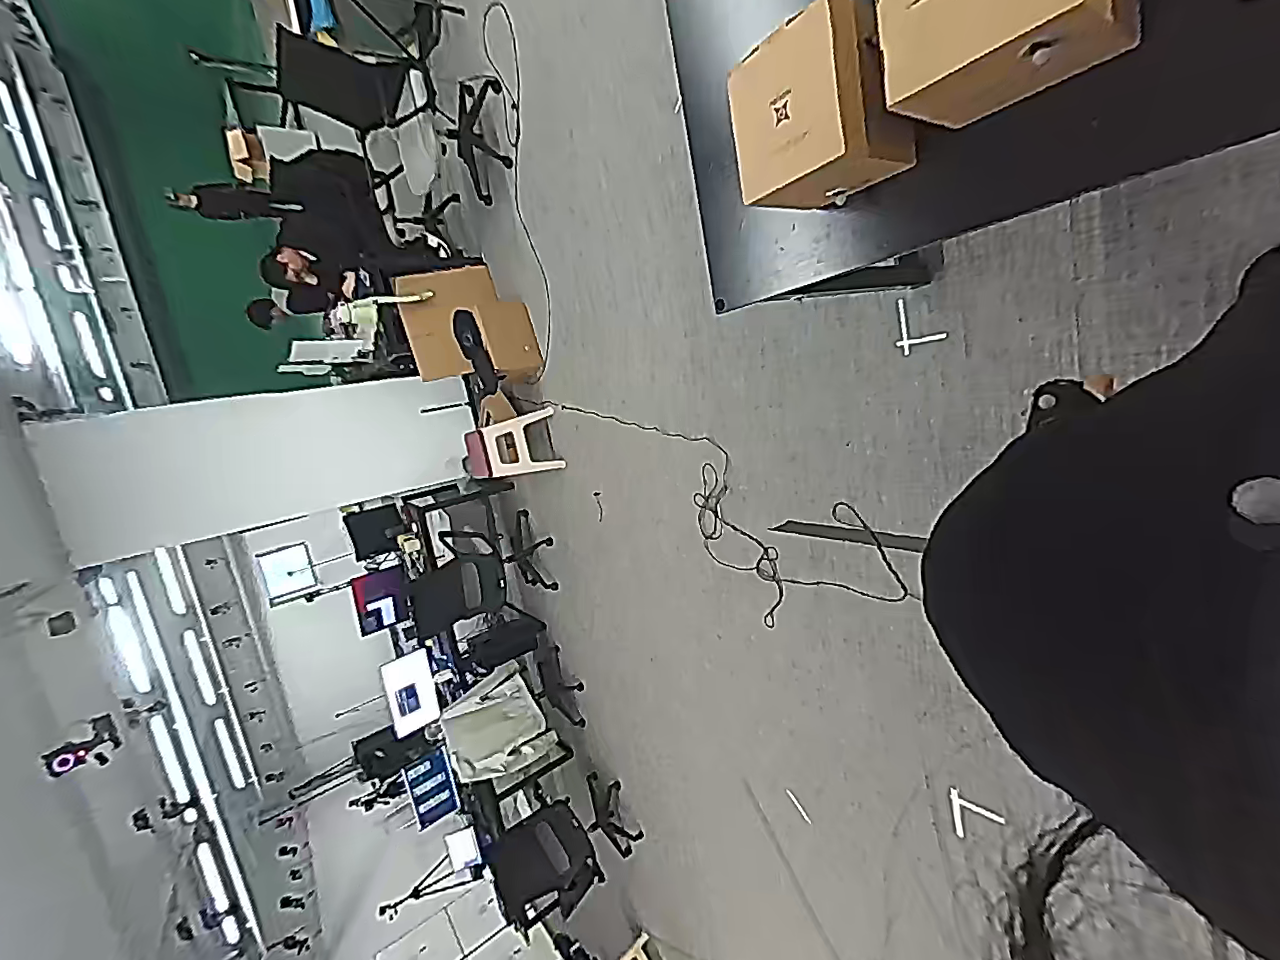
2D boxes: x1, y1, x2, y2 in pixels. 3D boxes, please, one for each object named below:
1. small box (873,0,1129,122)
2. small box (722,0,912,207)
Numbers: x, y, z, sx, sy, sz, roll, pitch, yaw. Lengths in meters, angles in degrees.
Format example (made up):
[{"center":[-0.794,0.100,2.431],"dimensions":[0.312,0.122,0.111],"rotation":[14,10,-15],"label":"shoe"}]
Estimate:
[{"center":[0.360,-0.493,0.541],"dimensions":[0.179,0.176,0.168],"rotation":[4,107,54],"label":"small box"},{"center":[0.237,-0.486,0.724],"dimensions":[0.168,0.176,0.179],"rotation":[3,107,56],"label":"small box"}]
